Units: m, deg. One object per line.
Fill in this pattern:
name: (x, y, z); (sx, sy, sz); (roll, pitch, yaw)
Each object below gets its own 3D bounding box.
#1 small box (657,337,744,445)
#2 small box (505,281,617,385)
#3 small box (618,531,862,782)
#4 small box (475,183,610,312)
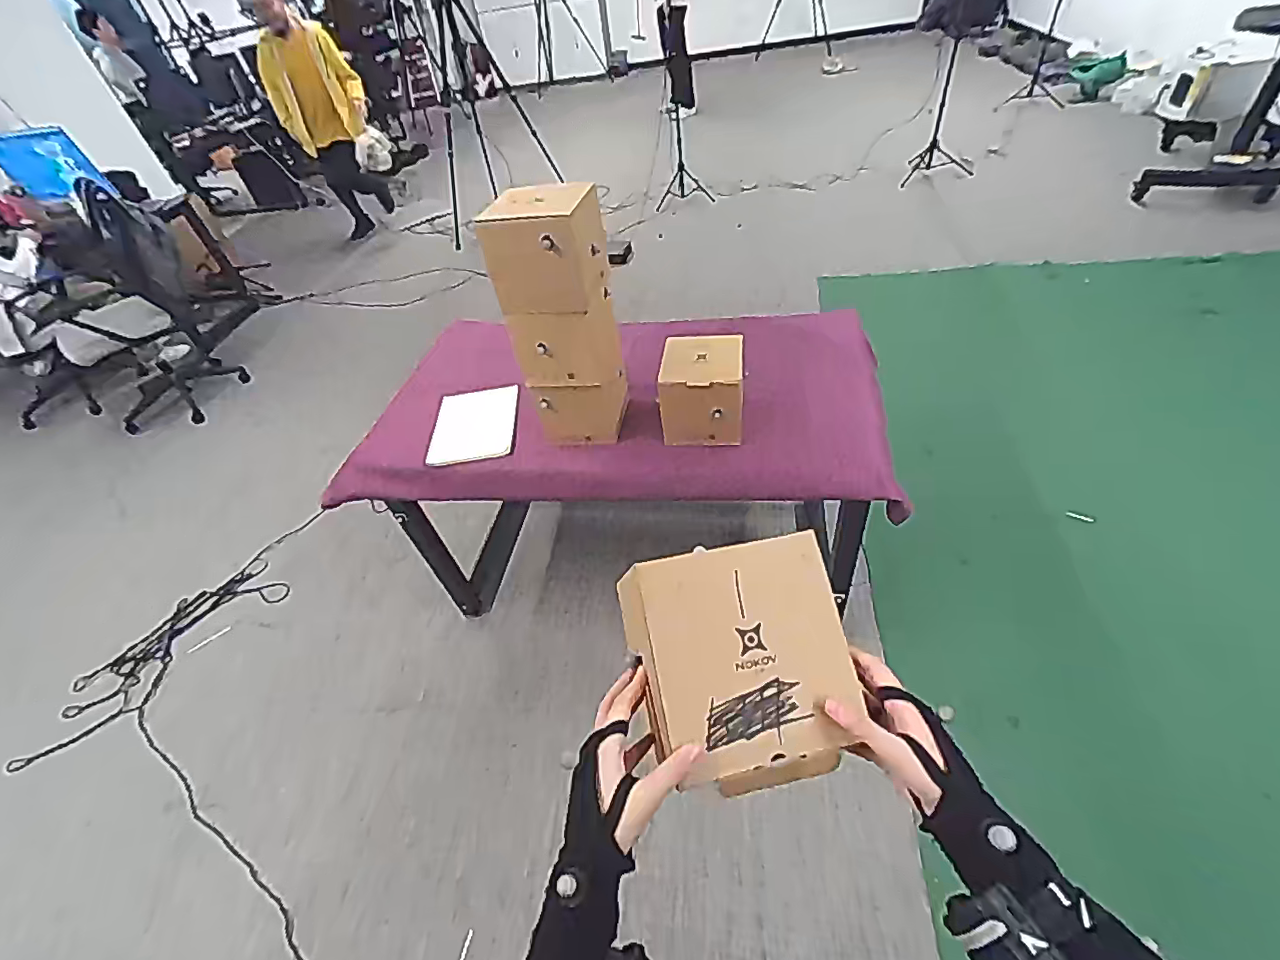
small box: (0.138, -0.190, 1.168); (0.168, 0.176, 0.179); (2, 45, 11)
small box: (-0.150, -0.306, 1.103); (0.168, 0.176, 0.179); (2, 45, 12)
small box: (0.077, 0.160, 0.521); (0.168, 0.176, 0.179); (-8, 74, -10)
small box: (-0.164, -0.418, 0.982); (0.179, 0.176, 0.168); (3, 45, 14)
